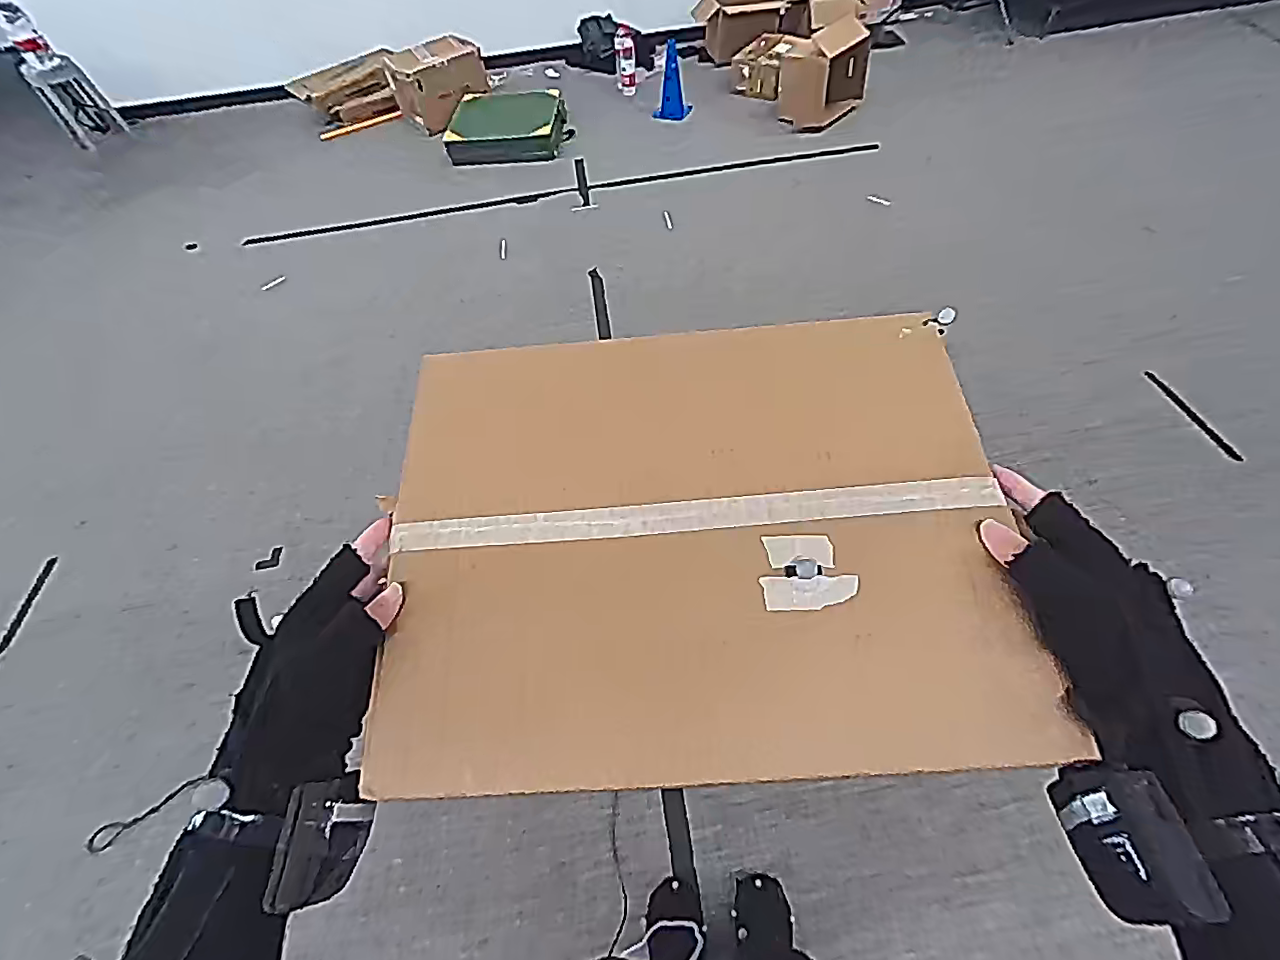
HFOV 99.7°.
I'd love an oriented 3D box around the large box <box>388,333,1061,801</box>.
[{"bbox_3d":[0.044,0.098,0.512,0.408,0.320,0.320,-4,65,1],"label":"large box"}]
